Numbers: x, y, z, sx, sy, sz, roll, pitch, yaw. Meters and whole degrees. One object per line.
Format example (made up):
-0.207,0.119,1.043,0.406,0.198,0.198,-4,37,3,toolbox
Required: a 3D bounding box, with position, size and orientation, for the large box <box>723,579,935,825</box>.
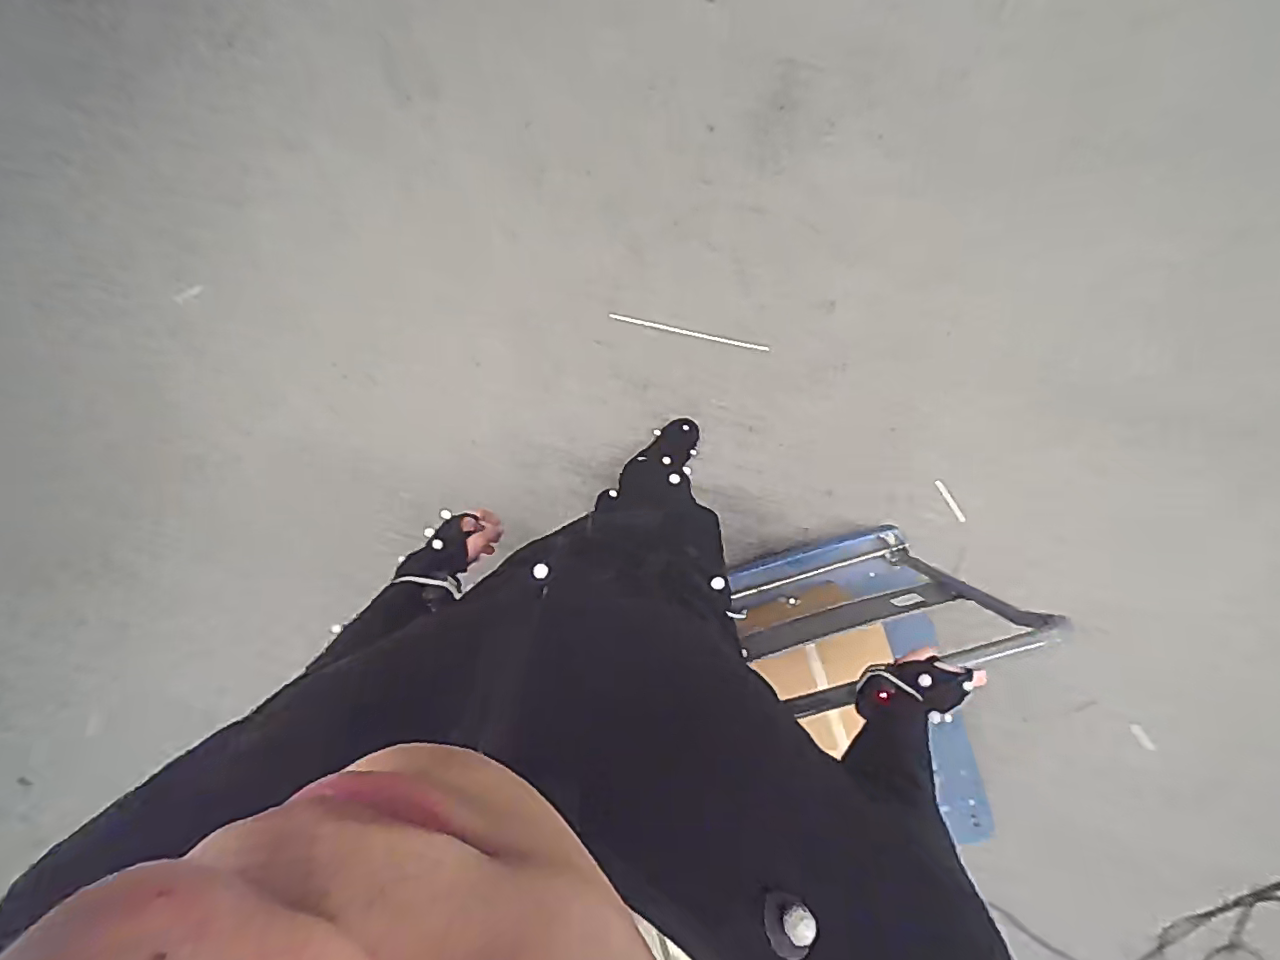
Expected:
0.422,0.501,1.297,0.320,0.320,0.408,-19,92,4,large box
